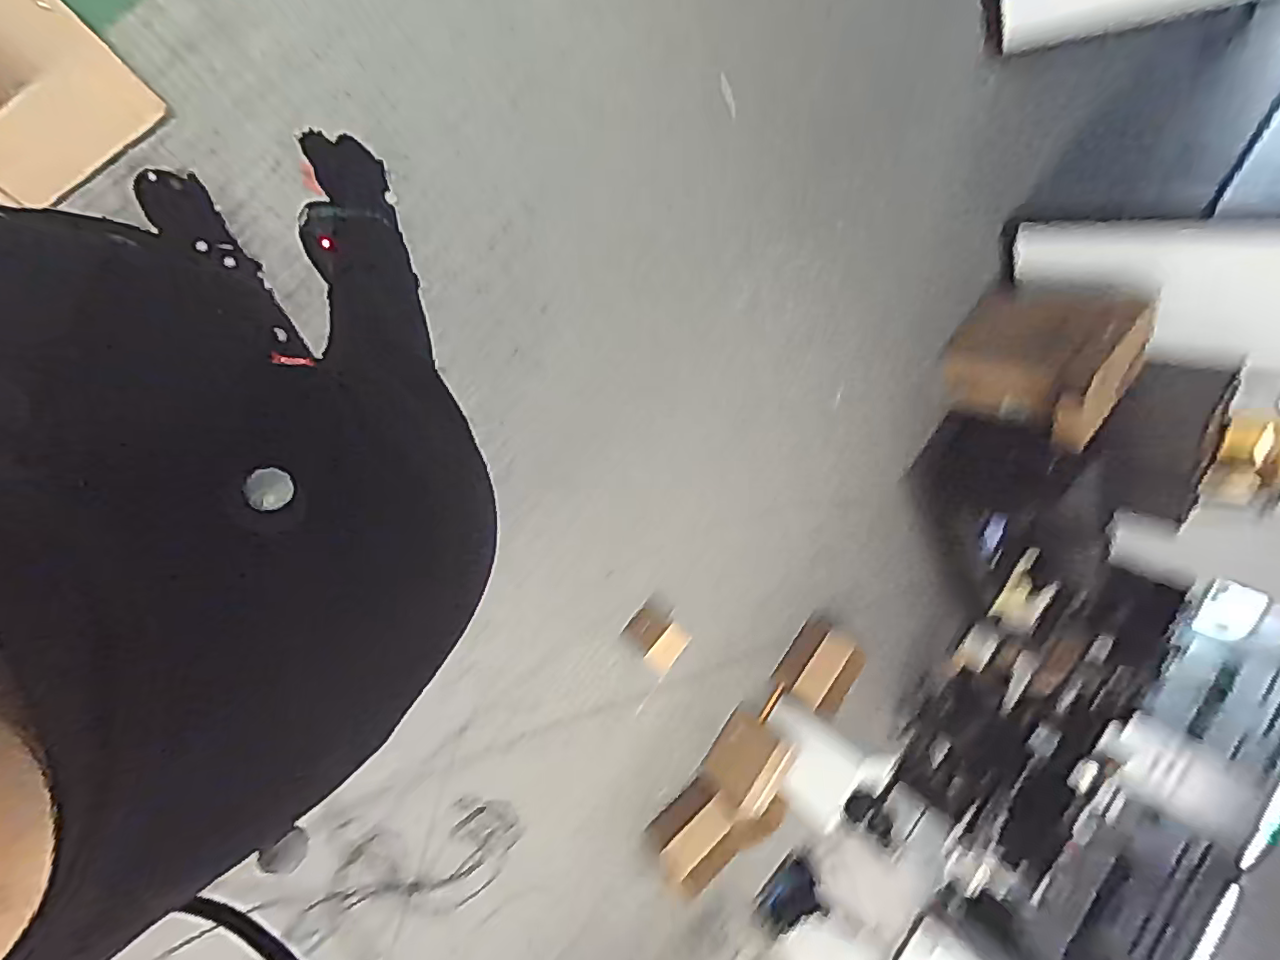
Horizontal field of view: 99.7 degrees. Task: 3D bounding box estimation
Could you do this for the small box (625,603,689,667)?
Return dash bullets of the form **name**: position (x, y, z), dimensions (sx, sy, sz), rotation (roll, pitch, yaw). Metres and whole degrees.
- **small box**: position (0.067, 0.646, 2.275), dimensions (0.168, 0.176, 0.179), rotation (-47, 131, -13)
